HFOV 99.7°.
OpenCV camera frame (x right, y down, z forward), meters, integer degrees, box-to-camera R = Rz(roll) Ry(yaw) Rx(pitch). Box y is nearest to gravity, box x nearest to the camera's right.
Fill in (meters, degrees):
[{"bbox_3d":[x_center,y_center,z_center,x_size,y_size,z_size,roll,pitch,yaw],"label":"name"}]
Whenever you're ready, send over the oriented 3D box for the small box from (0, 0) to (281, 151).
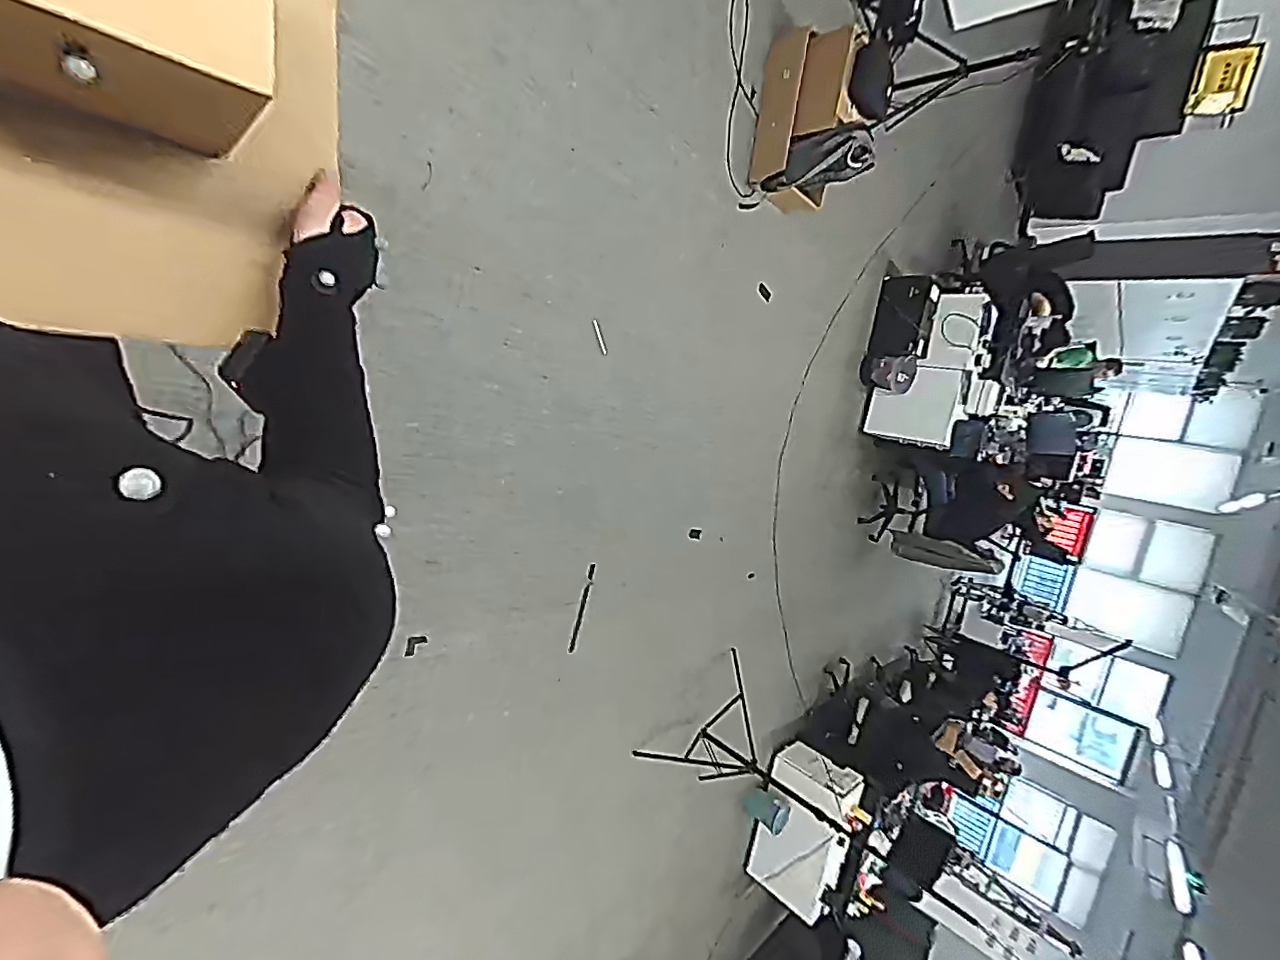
[{"bbox_3d":[-0.370,-0.353,0.369,0.179,0.176,0.168,-4,102,-45],"label":"small box"}]
